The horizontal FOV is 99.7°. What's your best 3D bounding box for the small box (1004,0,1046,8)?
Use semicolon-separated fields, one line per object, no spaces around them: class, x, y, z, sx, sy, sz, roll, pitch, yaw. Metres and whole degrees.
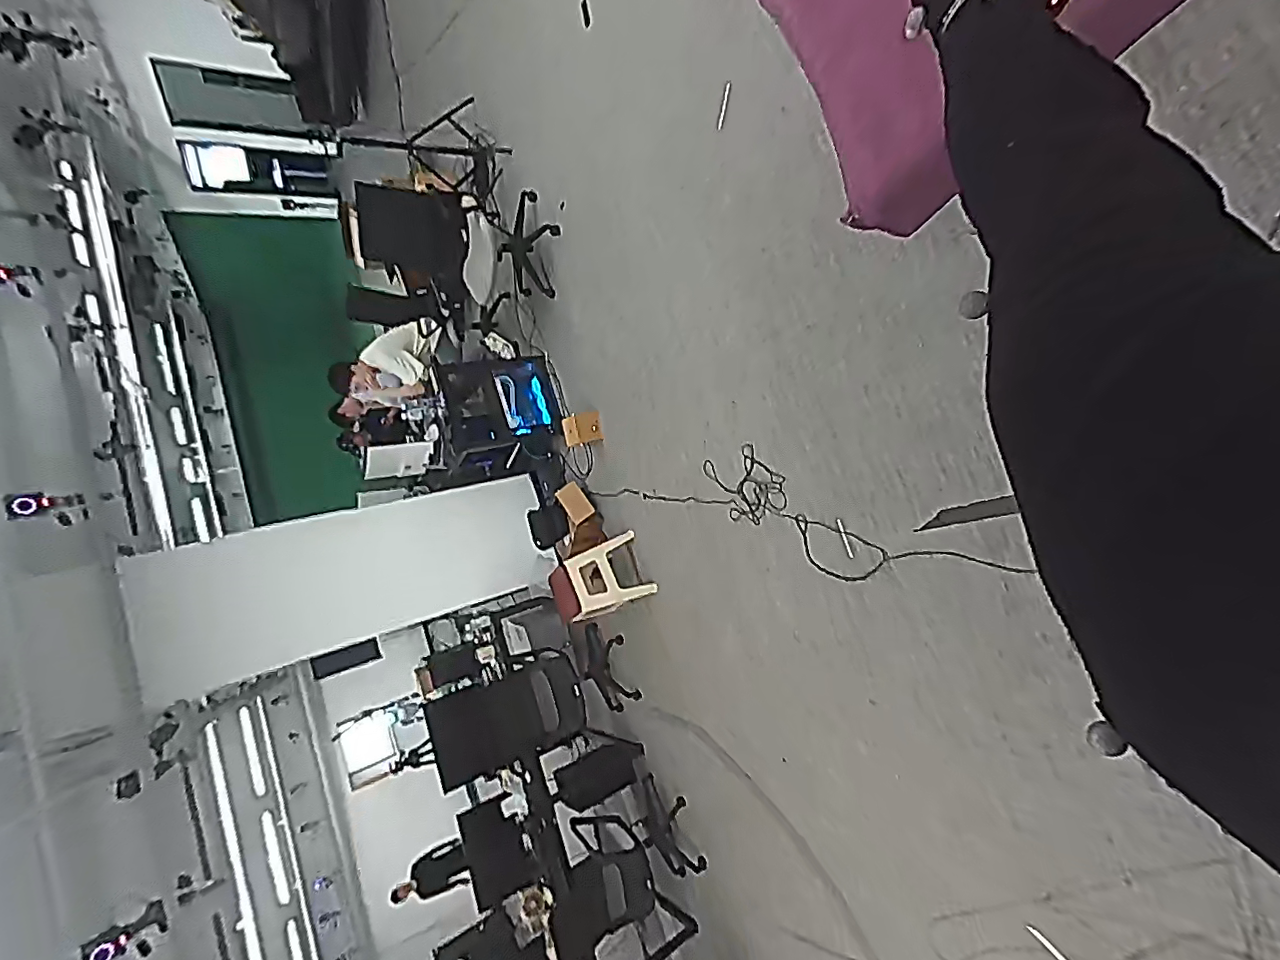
small box;0.367;-0.582;0.502;0.168;0.176;0.179;40;148;19
